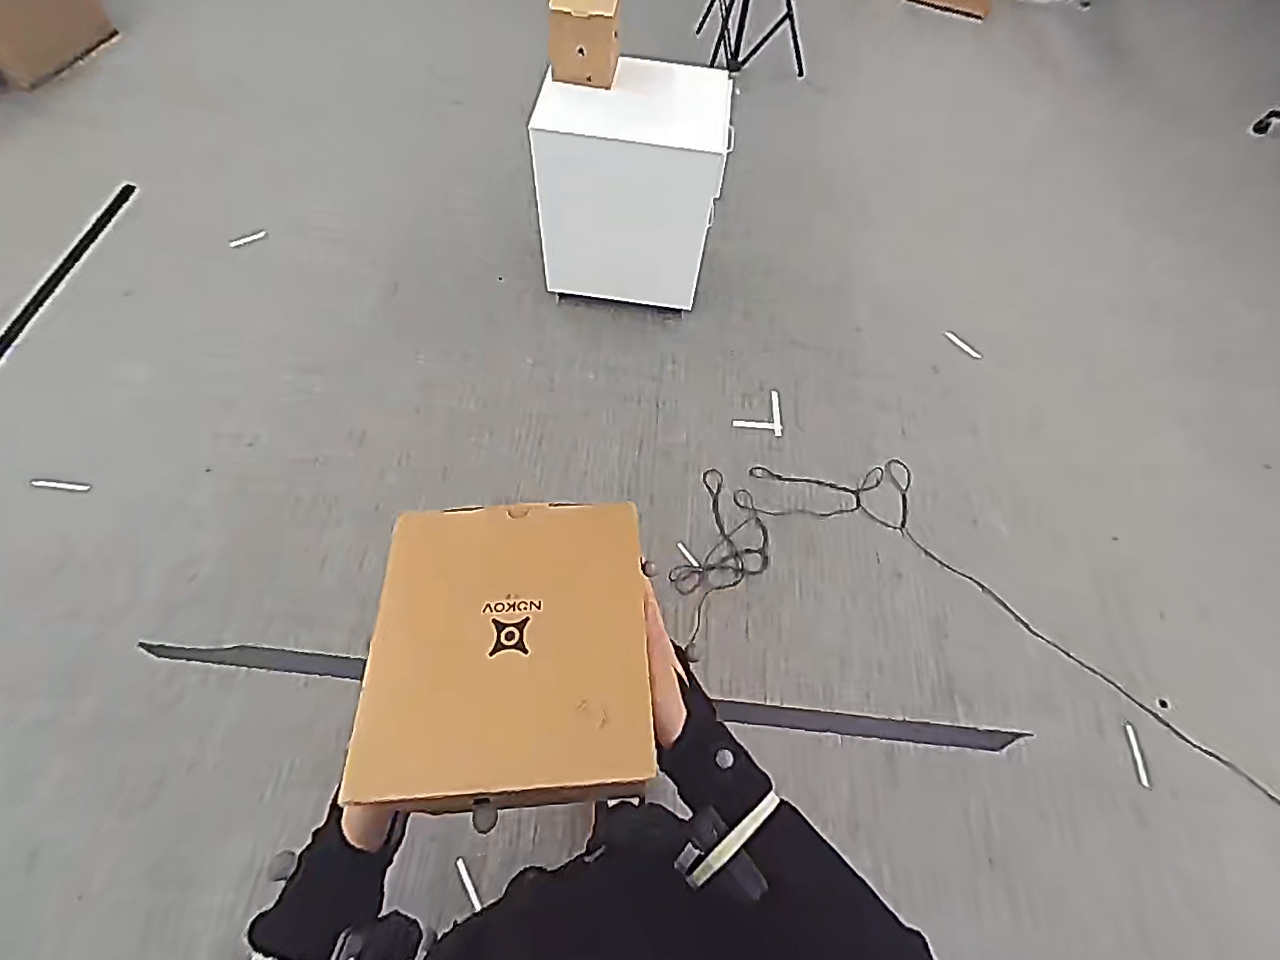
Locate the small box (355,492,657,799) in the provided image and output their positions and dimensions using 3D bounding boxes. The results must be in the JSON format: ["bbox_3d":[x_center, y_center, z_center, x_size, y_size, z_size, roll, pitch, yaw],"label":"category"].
[{"bbox_3d":[-0.078,0.129,0.399,0.168,0.176,0.179,-3,56,-4],"label":"small box"}]

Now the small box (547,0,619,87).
[{"bbox_3d":[-0.147,-1.197,1.452,0.168,0.176,0.179,8,65,-1],"label":"small box"}]
